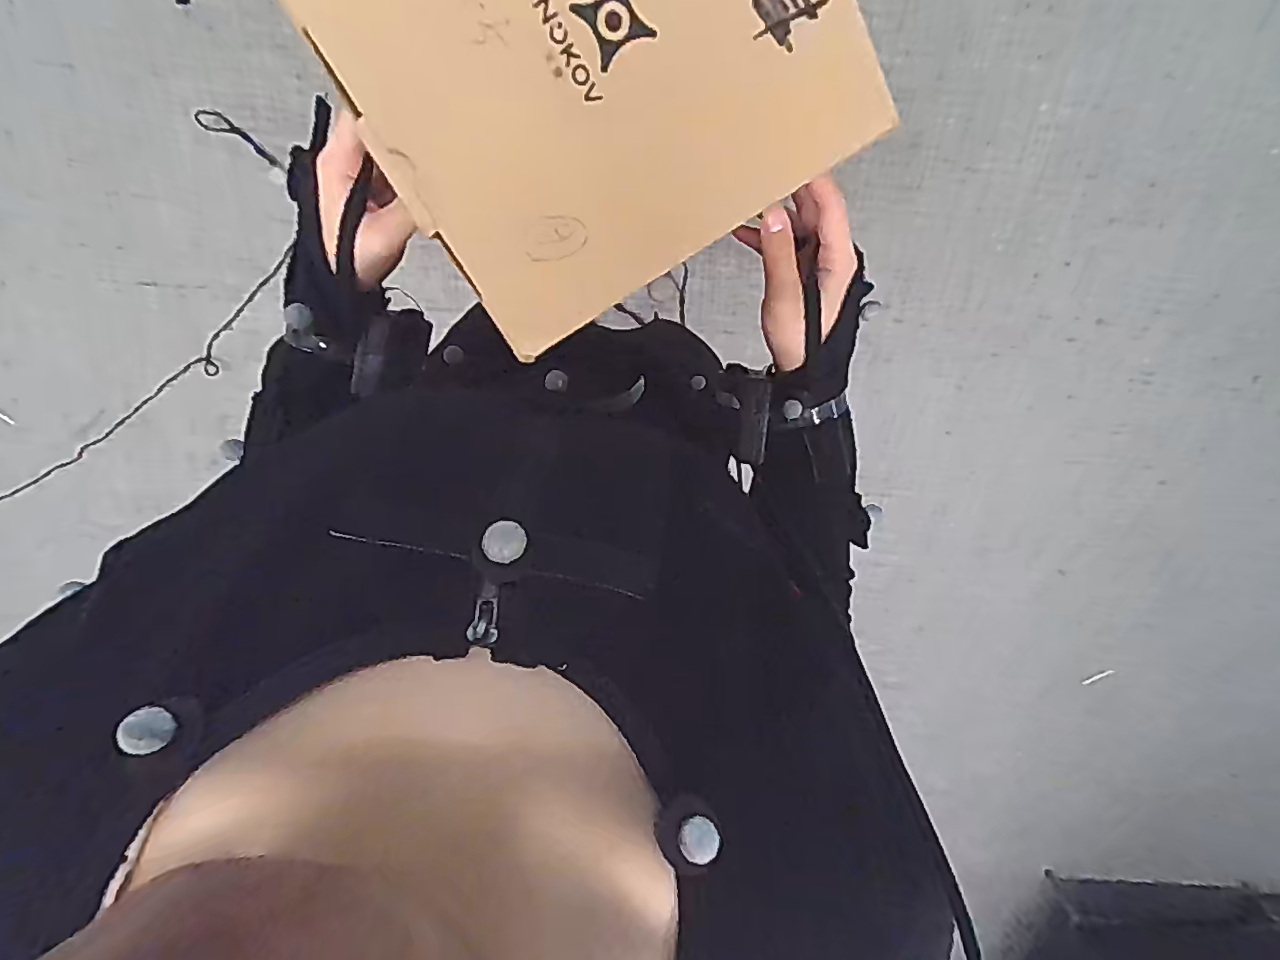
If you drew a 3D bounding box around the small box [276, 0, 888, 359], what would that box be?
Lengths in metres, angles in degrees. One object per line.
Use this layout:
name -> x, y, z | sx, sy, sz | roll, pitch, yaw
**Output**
small box -> -0.020, -0.181, 0.270 | 0.179, 0.176, 0.168 | -30, 108, 8
